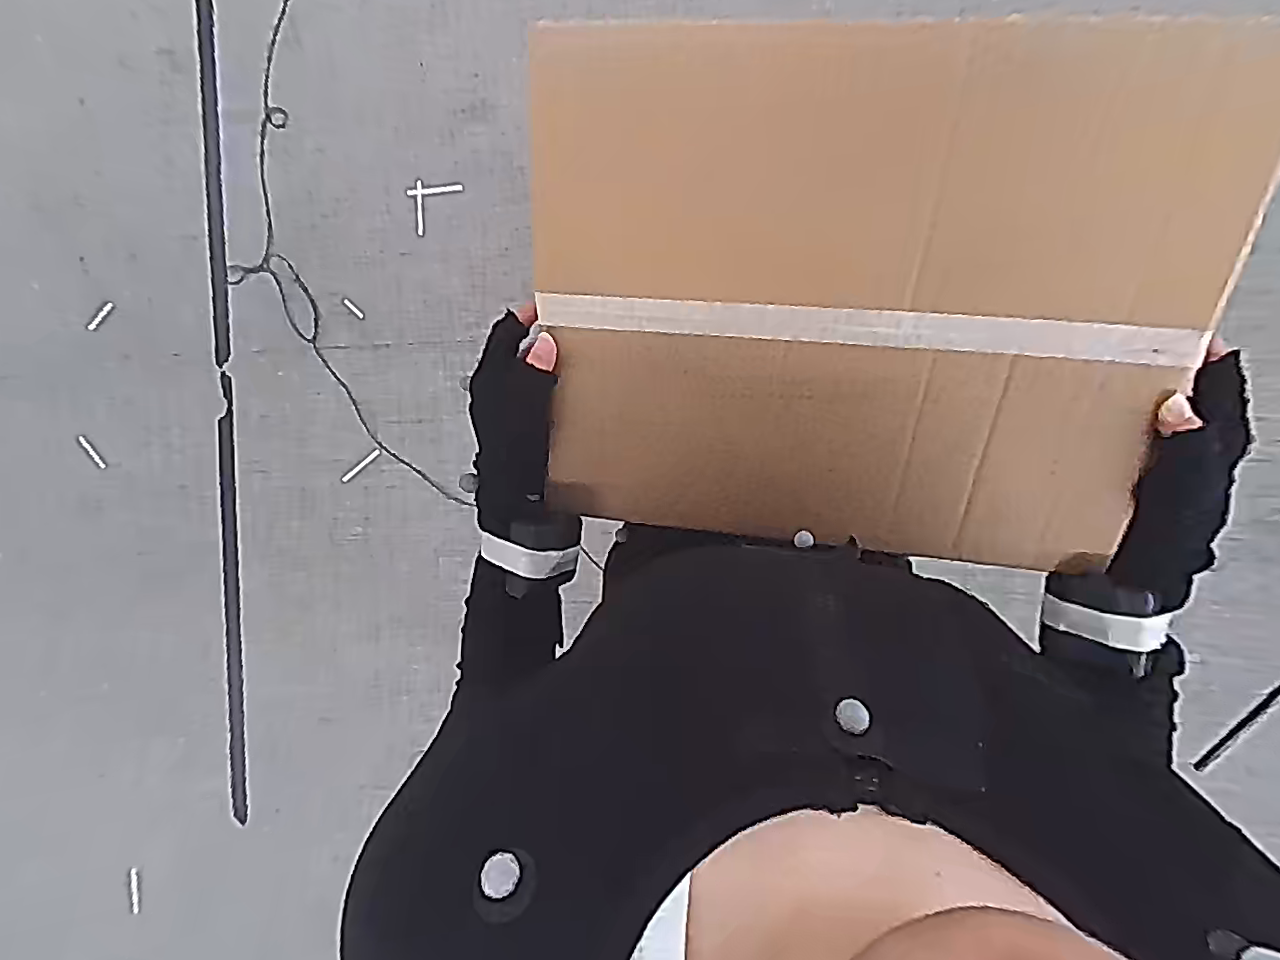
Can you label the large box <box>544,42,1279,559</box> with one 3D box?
[{"bbox_3d":[0.153,-0.156,0.494,0.408,0.320,0.320,6,115,7],"label":"large box"}]
